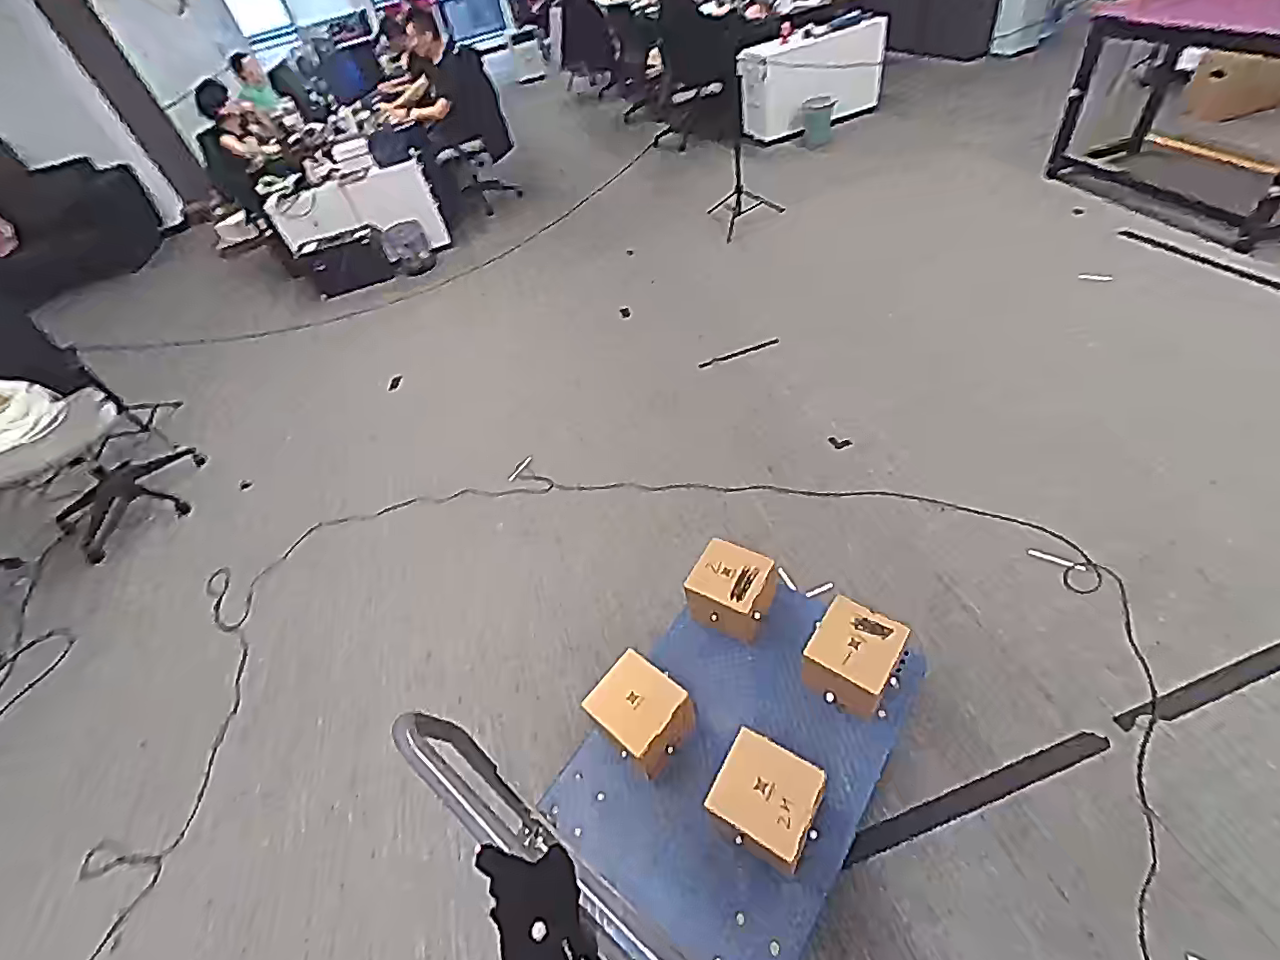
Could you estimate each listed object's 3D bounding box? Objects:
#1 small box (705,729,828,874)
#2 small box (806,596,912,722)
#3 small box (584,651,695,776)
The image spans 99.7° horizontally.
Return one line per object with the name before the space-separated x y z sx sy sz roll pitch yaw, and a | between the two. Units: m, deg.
small box | 0.249 0.630 1.057 0.179 0.176 0.168 20 55 30
small box | 0.482 0.403 1.214 0.168 0.176 0.179 25 59 32
small box | 0.005 0.528 1.217 0.179 0.176 0.168 28 59 32
